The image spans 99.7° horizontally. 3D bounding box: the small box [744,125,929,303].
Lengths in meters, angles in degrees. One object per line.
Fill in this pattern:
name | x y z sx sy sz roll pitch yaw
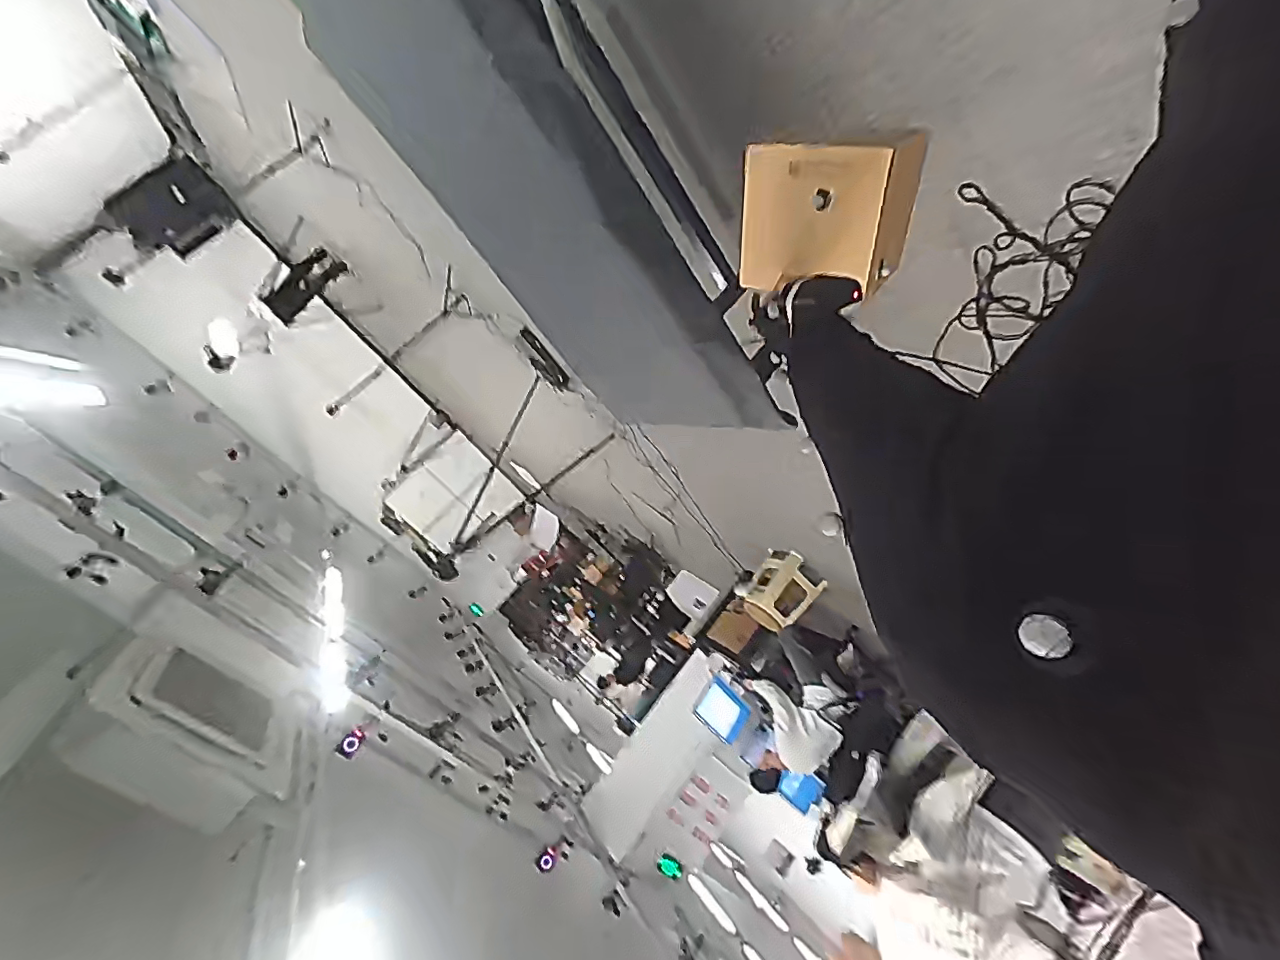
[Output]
small box | 0.250 -0.351 0.697 0.168 0.179 0.176 21 134 28
